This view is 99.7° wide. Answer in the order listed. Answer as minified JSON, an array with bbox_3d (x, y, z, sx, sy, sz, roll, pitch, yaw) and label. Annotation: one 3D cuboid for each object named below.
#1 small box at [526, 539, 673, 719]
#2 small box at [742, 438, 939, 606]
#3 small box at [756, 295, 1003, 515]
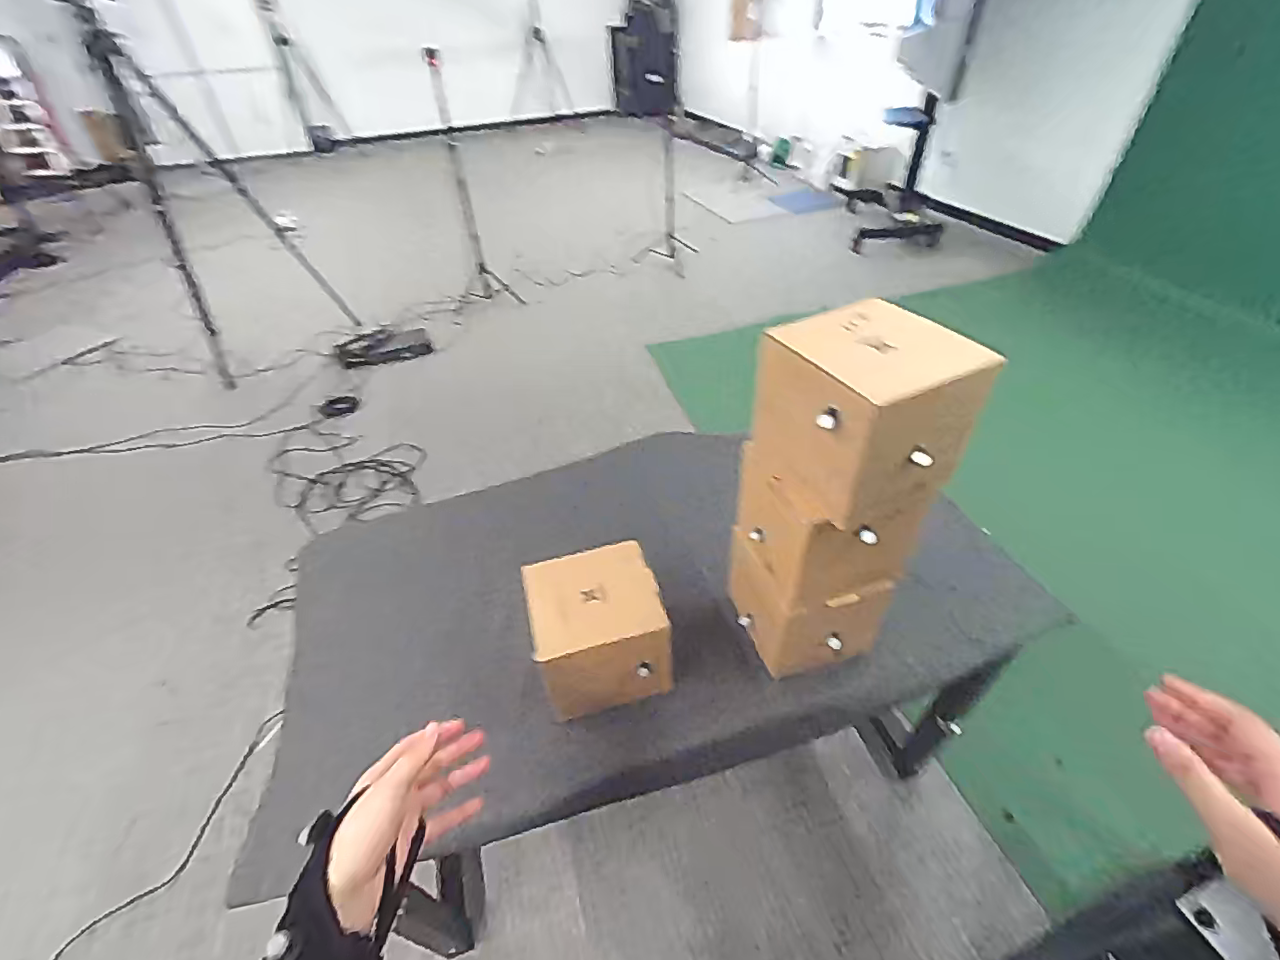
[{"bbox_3d":[-0.058,0.219,0.798,0.179,0.176,0.168,-14,41,-9],"label":"small box"},{"bbox_3d":[0.250,0.039,0.724,0.179,0.176,0.168,-15,42,-10],"label":"small box"},{"bbox_3d":[0.249,-0.082,0.610,0.168,0.176,0.179,-20,43,-17],"label":"small box"}]
